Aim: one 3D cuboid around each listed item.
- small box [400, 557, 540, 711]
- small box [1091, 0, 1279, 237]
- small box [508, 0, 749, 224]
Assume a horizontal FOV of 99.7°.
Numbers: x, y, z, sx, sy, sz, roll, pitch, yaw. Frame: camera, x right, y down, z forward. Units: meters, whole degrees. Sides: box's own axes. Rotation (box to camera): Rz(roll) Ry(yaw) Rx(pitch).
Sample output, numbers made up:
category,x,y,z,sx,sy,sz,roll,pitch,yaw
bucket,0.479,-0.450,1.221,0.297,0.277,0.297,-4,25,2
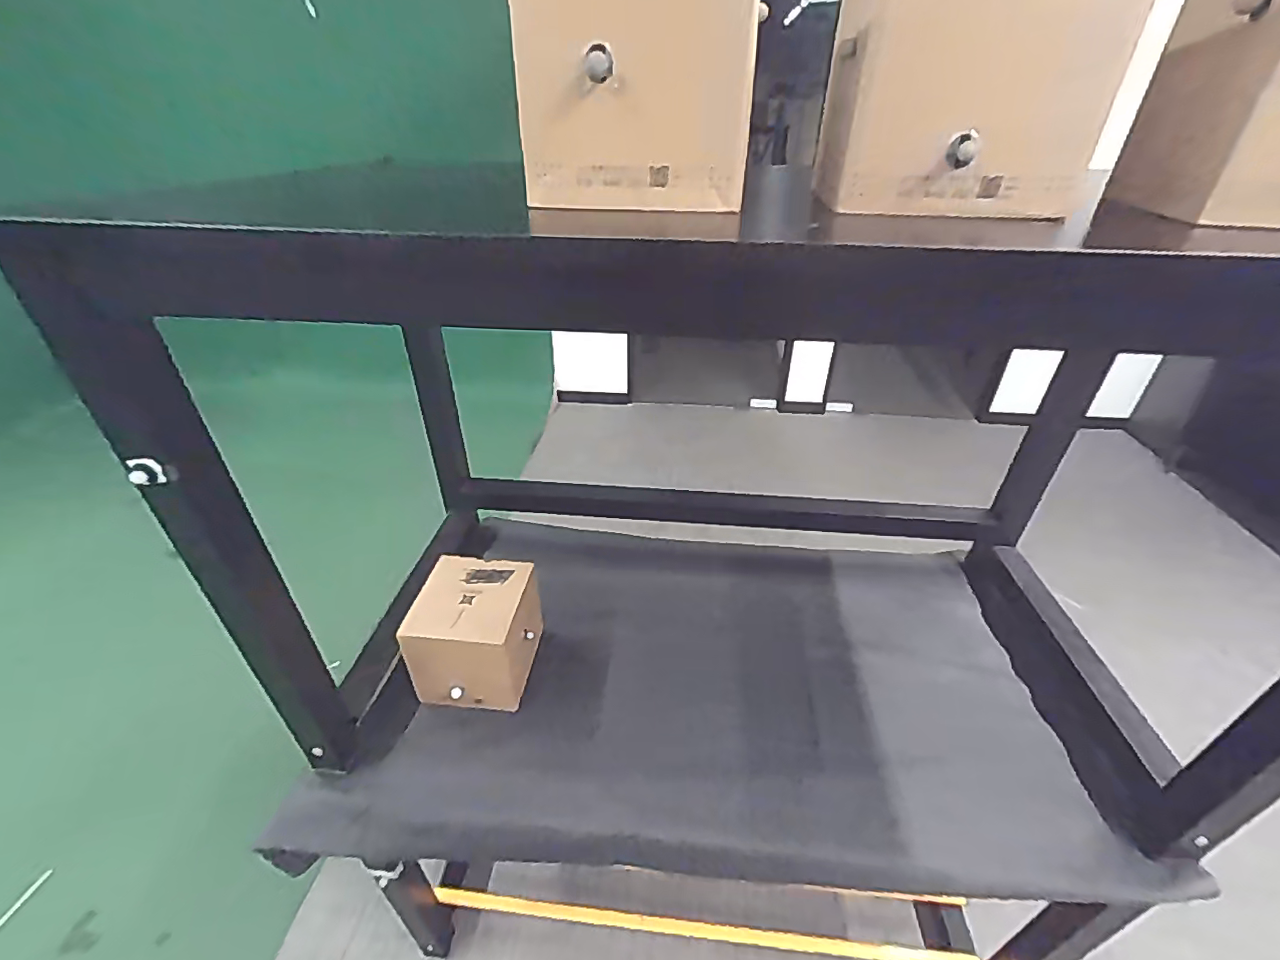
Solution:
category,x,y,z,sx,sy,sz,roll,pitch,yaw
small box,-0.270,0.253,0.906,0.168,0.176,0.179,4,34,4
small box,0.483,-0.275,0.391,0.168,0.176,0.179,10,34,14
small box,0.002,-0.319,0.458,0.168,0.176,0.179,4,33,5
